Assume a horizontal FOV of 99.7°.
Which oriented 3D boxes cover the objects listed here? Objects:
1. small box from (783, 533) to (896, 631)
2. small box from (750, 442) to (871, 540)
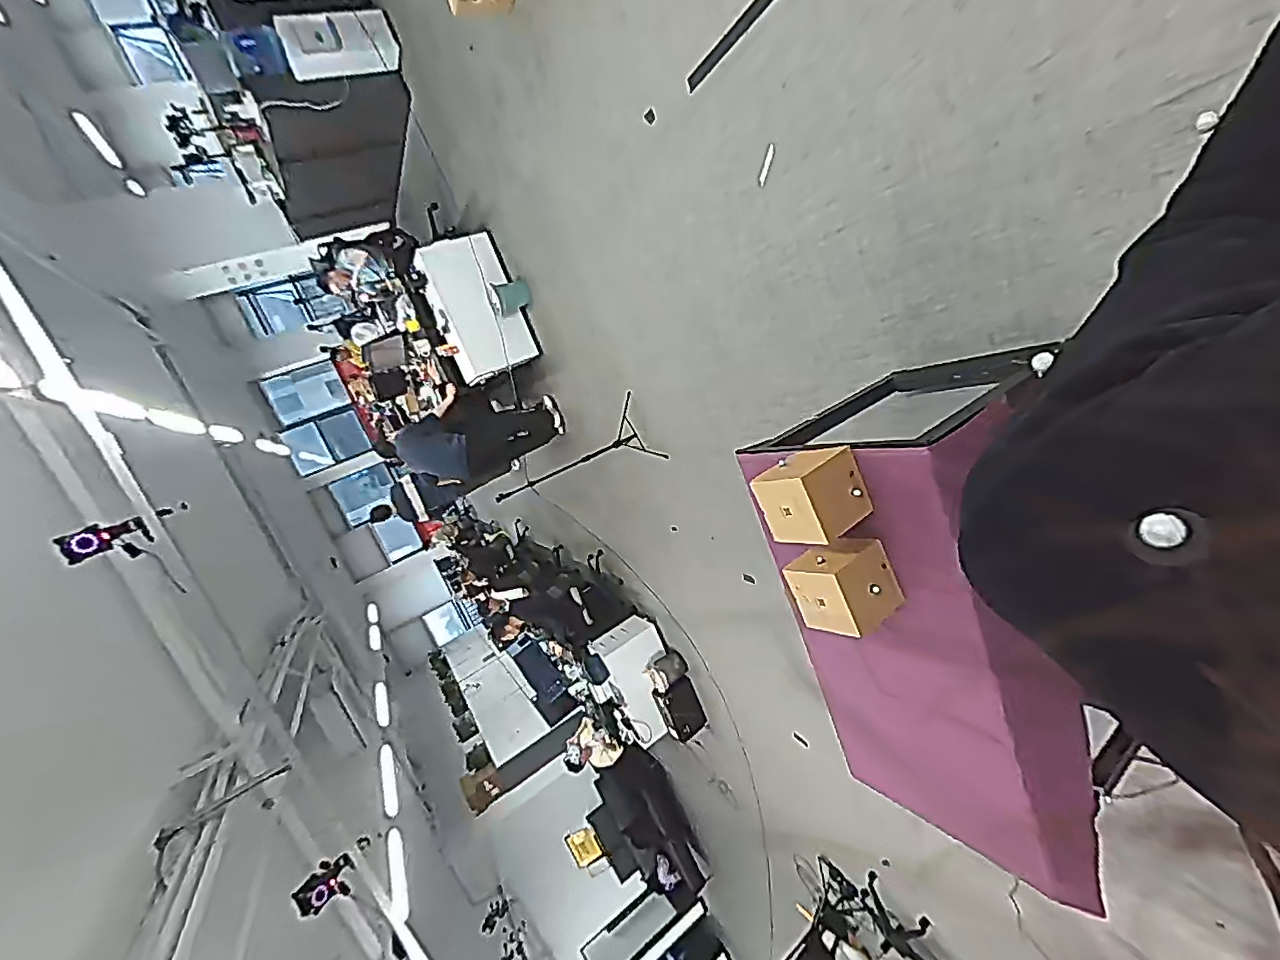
[{"bbox_3d":[0.490,0.240,1.313,0.168,0.176,0.179,65,156,-7],"label":"small box"},{"bbox_3d":[0.398,0.024,1.264,0.168,0.176,0.179,64,156,-10],"label":"small box"}]
